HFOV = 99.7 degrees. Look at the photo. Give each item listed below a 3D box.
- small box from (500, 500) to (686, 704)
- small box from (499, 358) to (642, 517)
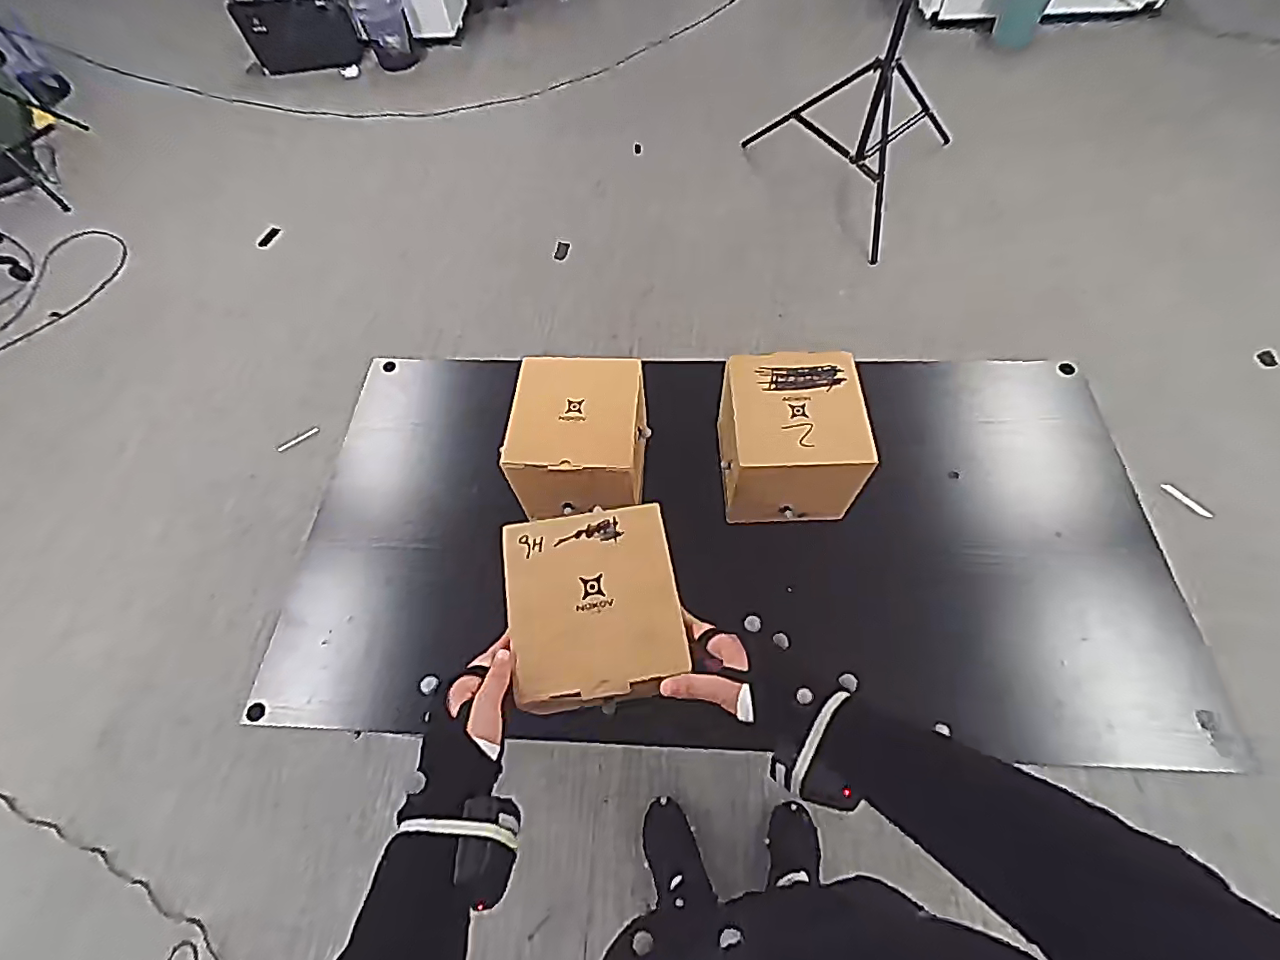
[{"bbox_3d":[-0.050,0.141,0.594,0.168,0.176,0.179,-8,66,-6],"label":"small box"},{"bbox_3d":[-0.086,-0.053,0.774,0.168,0.176,0.179,2,62,5],"label":"small box"}]
